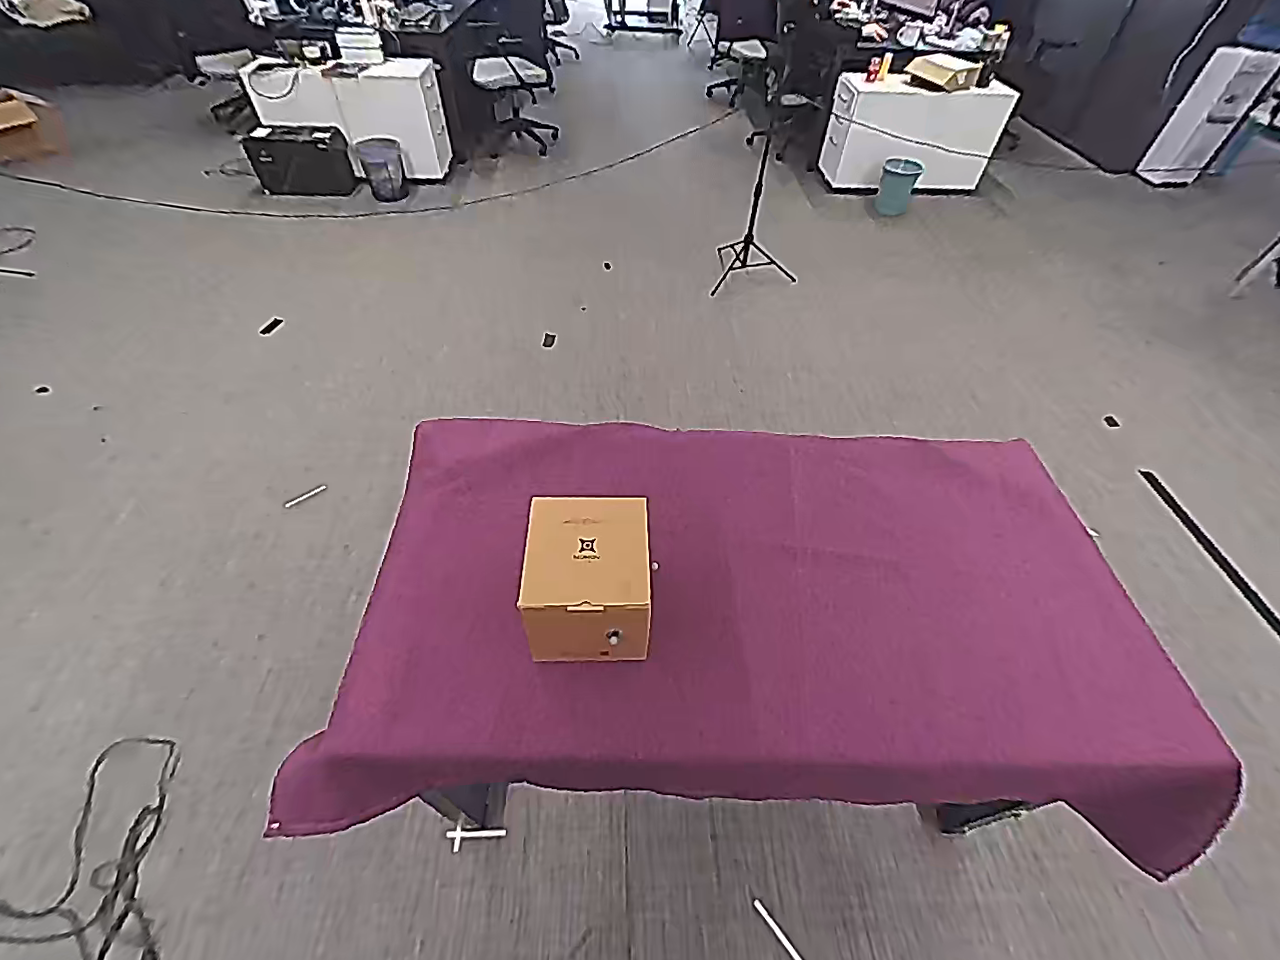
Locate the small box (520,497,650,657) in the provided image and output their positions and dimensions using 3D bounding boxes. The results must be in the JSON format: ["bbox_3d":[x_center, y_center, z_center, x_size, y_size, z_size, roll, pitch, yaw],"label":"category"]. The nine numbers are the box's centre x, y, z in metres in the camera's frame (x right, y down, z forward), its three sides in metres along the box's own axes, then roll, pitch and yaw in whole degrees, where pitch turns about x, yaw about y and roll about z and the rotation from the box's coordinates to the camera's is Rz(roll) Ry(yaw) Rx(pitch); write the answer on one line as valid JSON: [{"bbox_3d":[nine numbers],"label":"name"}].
[{"bbox_3d":[-0.070,0.143,0.780,0.168,0.176,0.179,1,49,-3],"label":"small box"}]
